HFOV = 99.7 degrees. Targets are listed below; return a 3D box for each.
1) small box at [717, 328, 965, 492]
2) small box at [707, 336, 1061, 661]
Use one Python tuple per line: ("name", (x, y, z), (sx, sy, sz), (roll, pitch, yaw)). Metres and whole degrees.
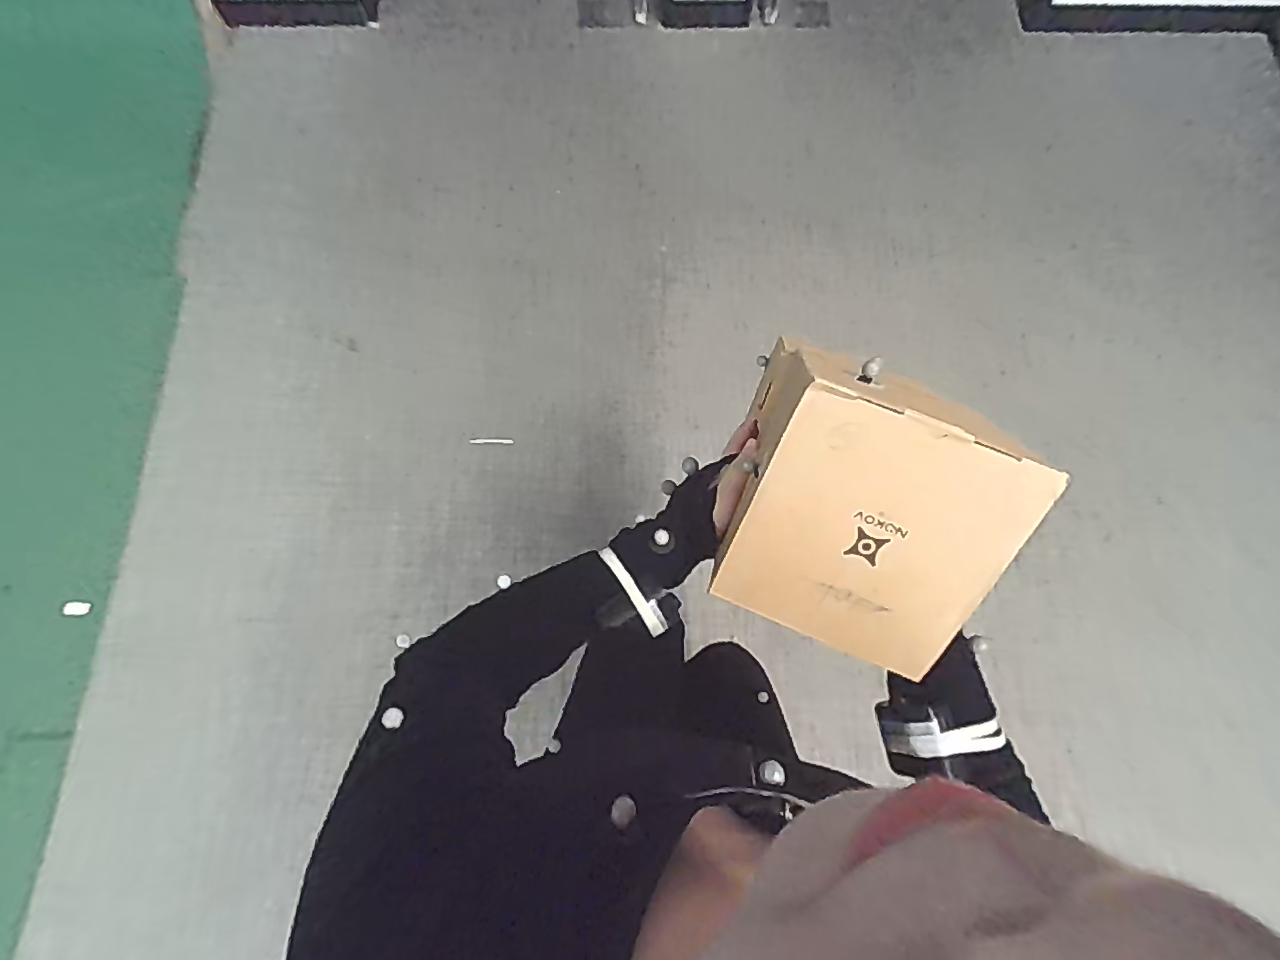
("small box", (0.196, -0.057, 0.580), (0.179, 0.176, 0.168), (20, 112, 4))
("small box", (0.165, -0.002, 0.430), (0.168, 0.176, 0.179), (22, 114, 4))
